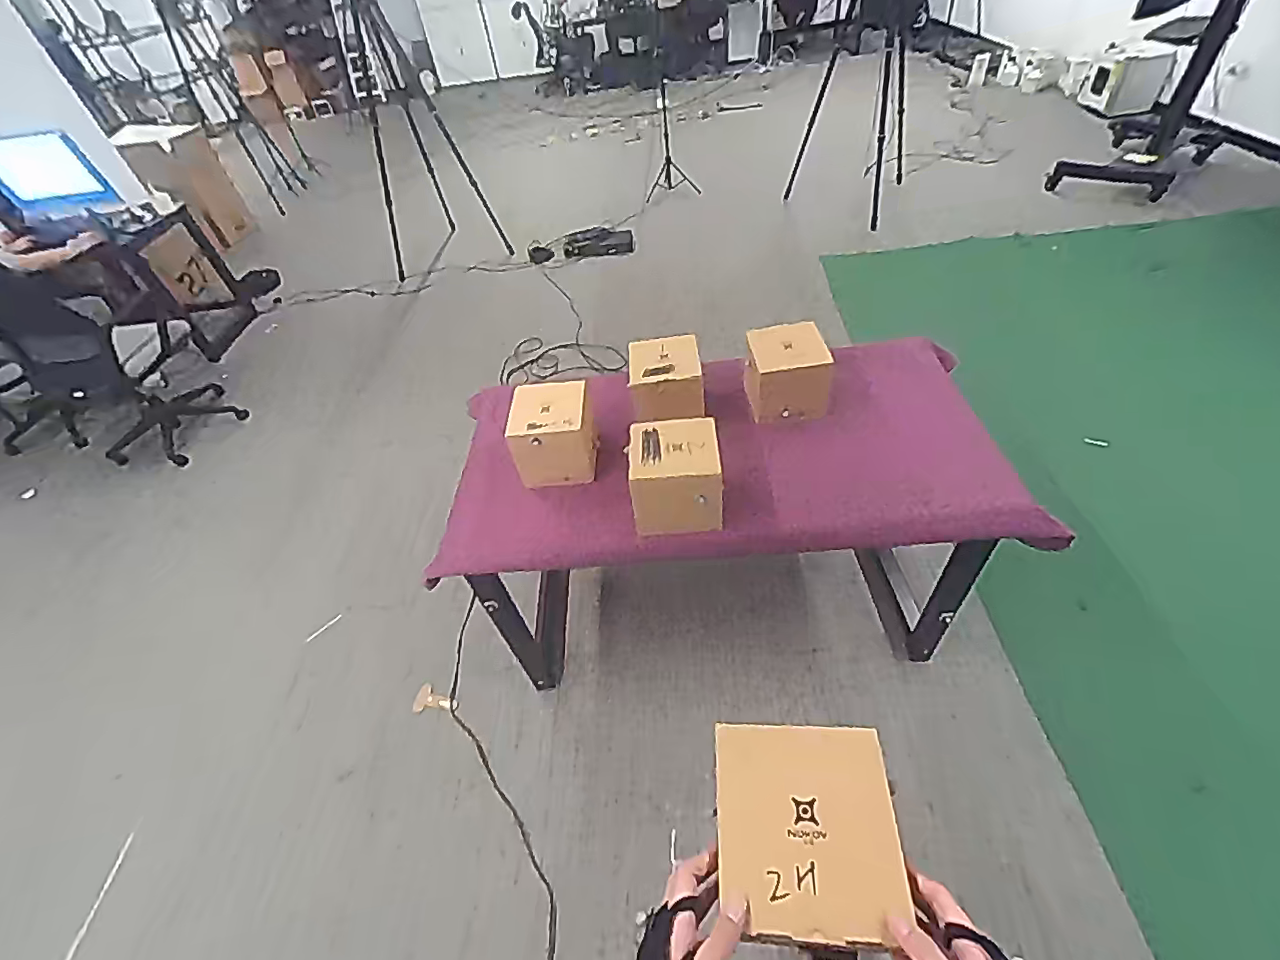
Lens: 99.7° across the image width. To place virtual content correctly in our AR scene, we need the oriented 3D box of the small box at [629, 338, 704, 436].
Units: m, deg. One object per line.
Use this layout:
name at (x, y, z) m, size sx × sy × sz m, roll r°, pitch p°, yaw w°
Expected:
small box at (0.066, -0.221, 1.327) m, size 0.168 × 0.176 × 0.179 m, roll -6°, pitch 46°, yaw 4°

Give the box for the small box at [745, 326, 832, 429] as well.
small box at (0.349, -0.246, 1.306) m, size 0.168 × 0.176 × 0.179 m, roll -7°, pitch 47°, yaw 4°

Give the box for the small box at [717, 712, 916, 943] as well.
small box at (0.166, 0.367, 0.574) m, size 0.168 × 0.176 × 0.179 m, roll -1°, pitch 49°, yaw 9°

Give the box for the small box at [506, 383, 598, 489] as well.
small box at (-0.195, -0.102, 1.253) m, size 0.168 × 0.176 × 0.179 m, roll -6°, pitch 46°, yaw 6°
